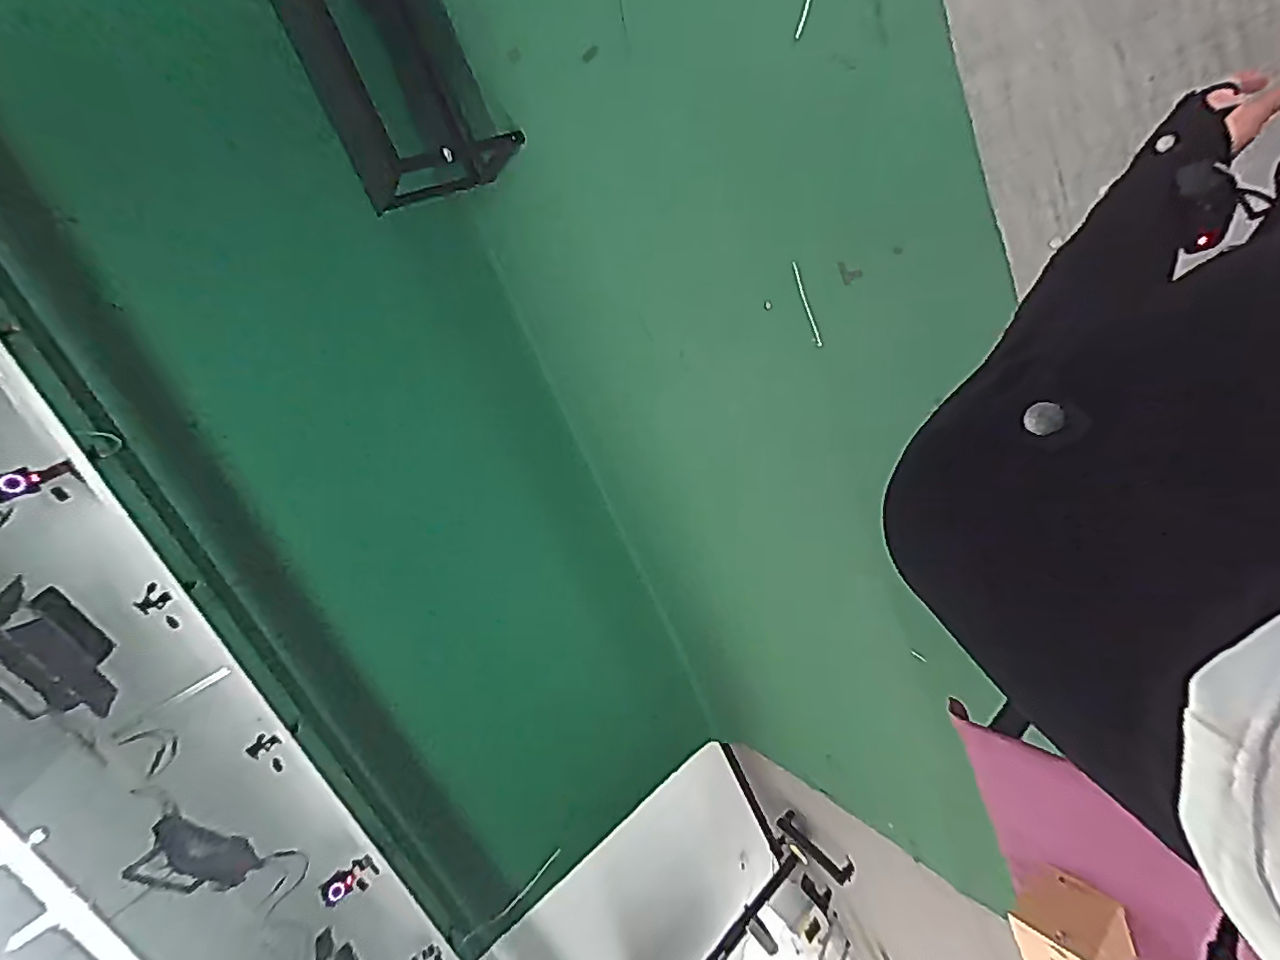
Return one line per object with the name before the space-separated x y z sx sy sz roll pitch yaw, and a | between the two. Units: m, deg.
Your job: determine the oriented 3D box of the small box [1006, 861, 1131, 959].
small box | 0.993 1.048 1.250 0.168 0.176 0.179 -1 118 60
